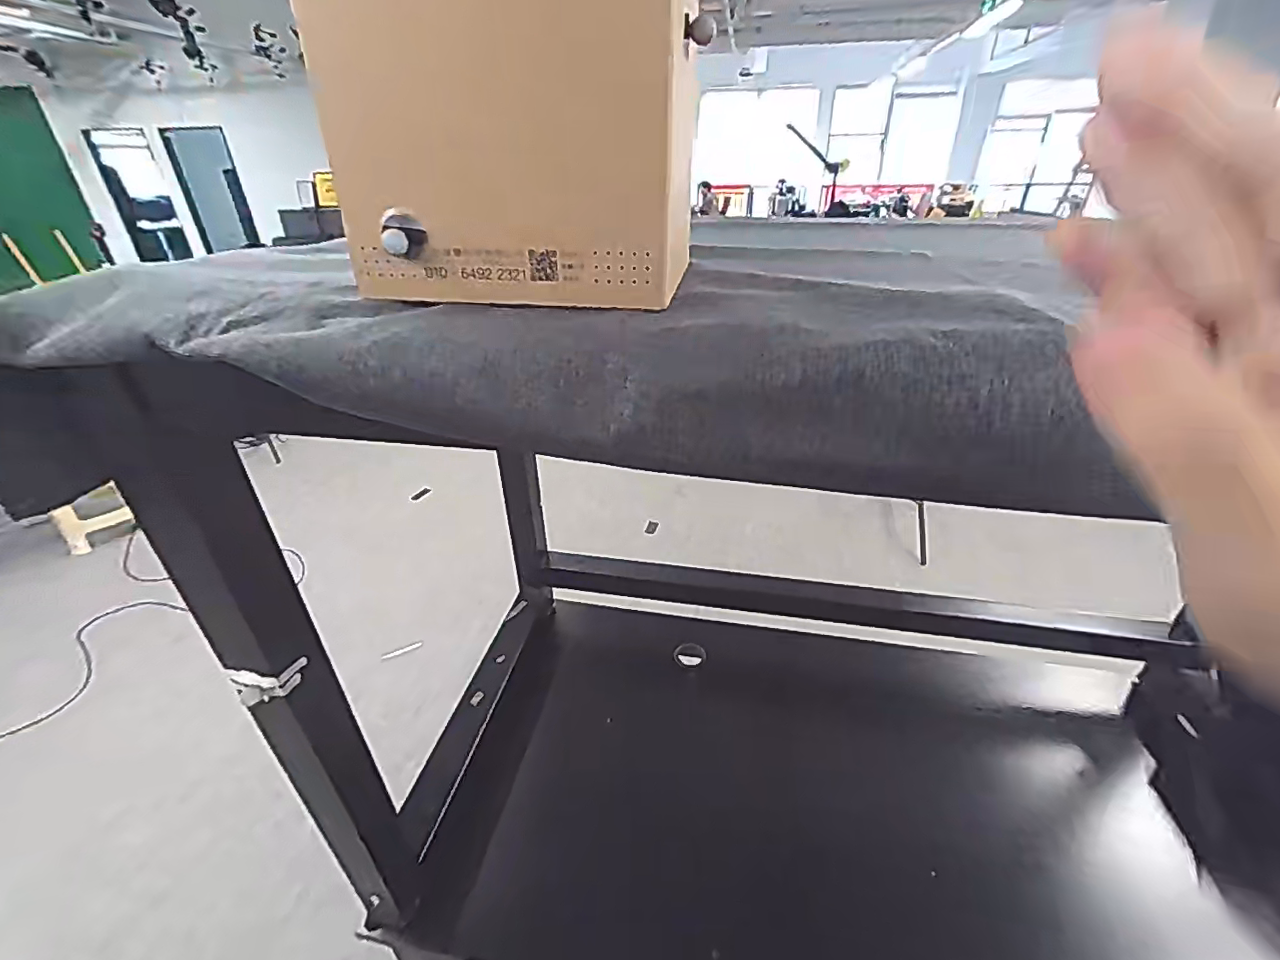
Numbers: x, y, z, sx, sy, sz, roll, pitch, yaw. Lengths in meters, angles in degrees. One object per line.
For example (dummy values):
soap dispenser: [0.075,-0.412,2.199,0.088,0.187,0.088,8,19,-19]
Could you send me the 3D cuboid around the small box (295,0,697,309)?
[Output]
small box: [-0.055,-0.200,0.314,0.168,0.176,0.179,4,28,7]
